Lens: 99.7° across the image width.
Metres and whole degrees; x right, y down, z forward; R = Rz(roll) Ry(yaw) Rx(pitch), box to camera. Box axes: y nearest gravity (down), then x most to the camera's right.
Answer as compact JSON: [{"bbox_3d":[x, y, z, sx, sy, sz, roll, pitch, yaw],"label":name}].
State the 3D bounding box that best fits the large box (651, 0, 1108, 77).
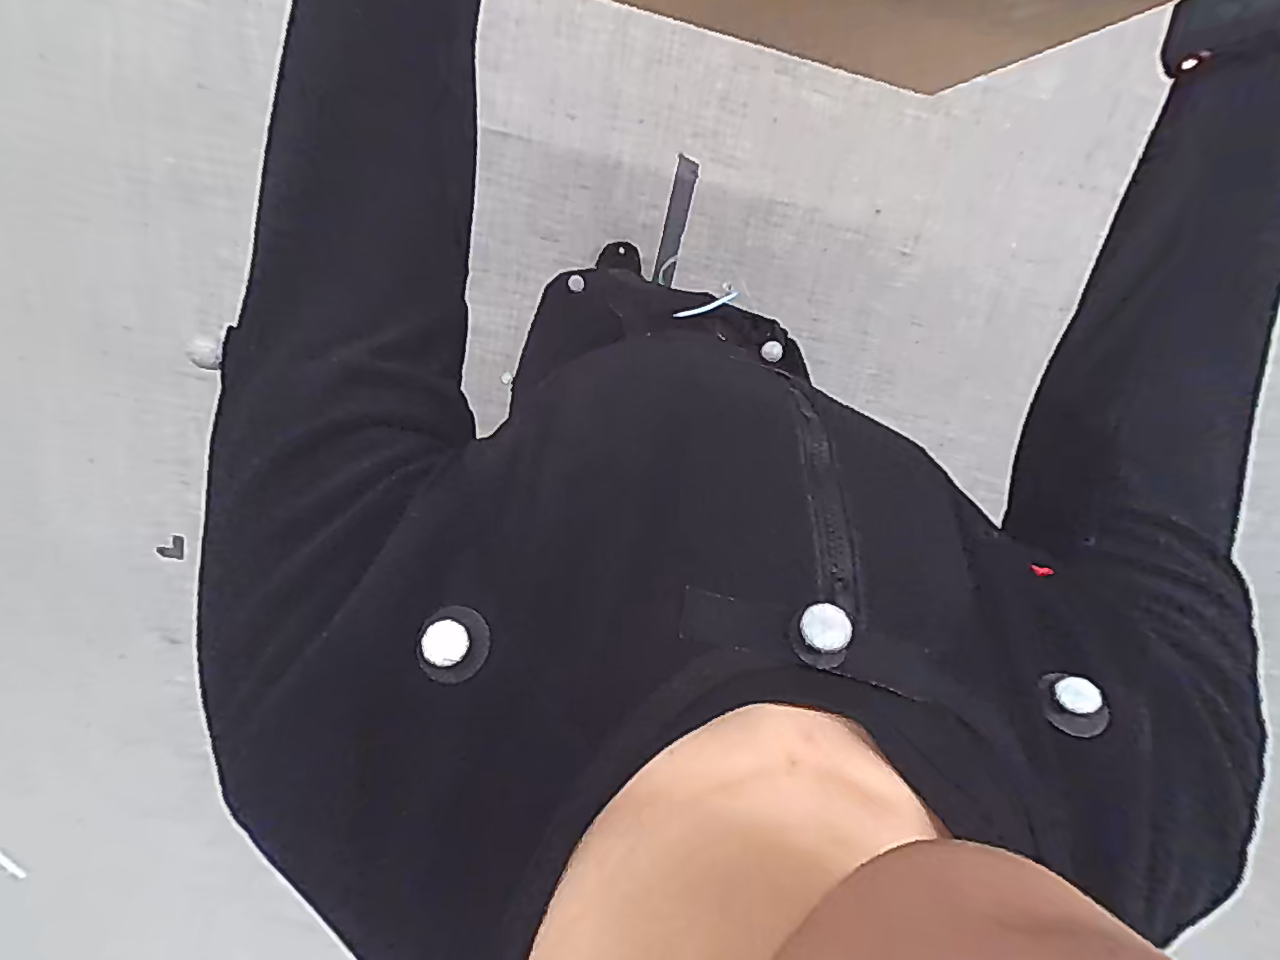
[{"bbox_3d":[0.168,-0.545,0.379,0.408,0.320,0.320,11,117,-8],"label":"large box"}]
